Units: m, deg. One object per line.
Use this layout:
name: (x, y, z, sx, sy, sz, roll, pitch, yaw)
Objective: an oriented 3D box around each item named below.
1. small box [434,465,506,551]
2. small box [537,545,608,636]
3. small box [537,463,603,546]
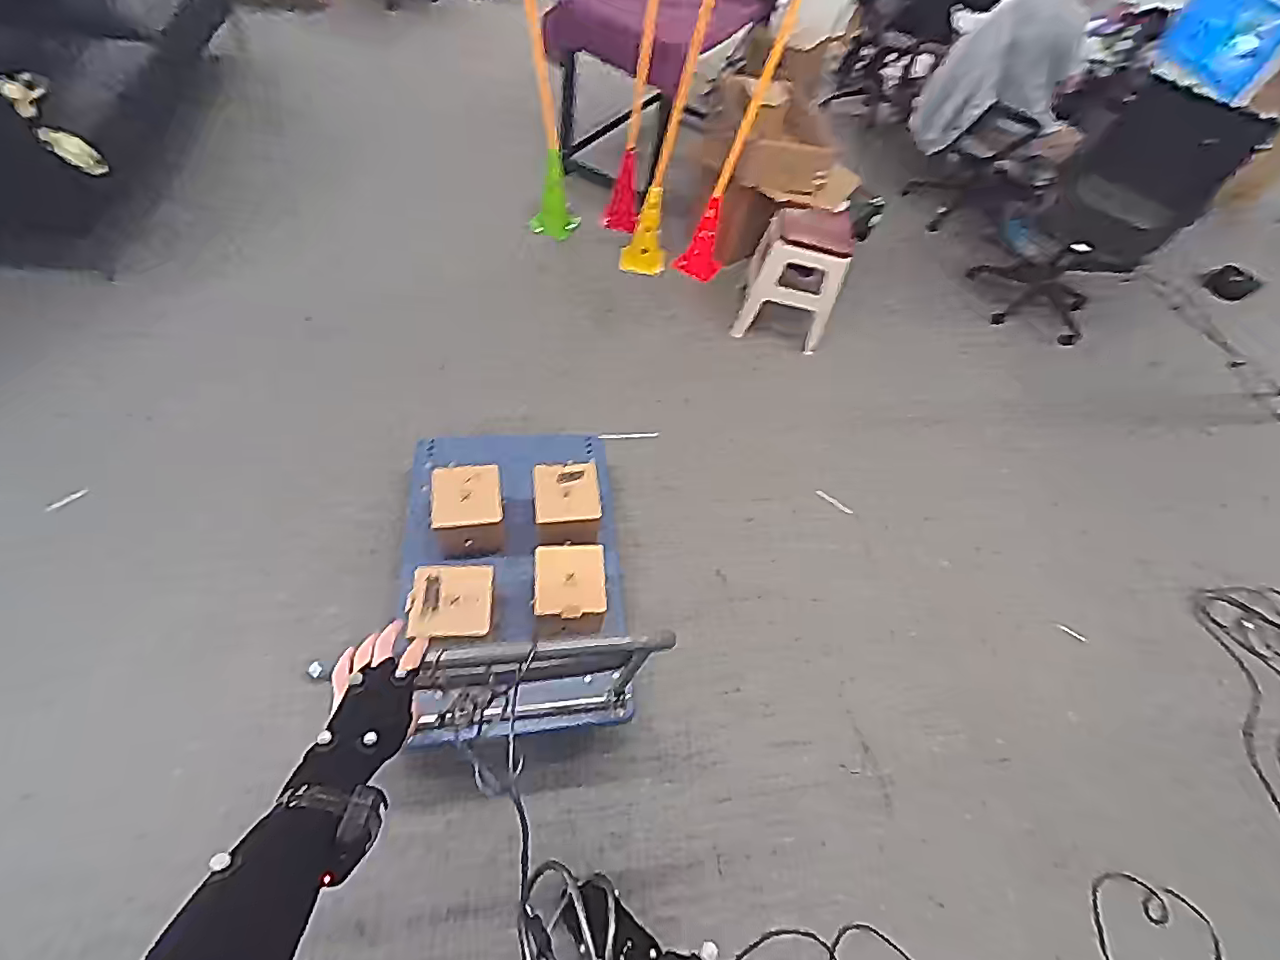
small box: (-0.451, 0.081, 1.449, 0.168, 0.176, 0.179, -4, 58, -13)
small box: (-0.175, 0.280, 1.367, 0.168, 0.176, 0.179, 0, 58, -10)
small box: (-0.199, 0.073, 1.497, 0.168, 0.176, 0.179, -4, 59, -11)
